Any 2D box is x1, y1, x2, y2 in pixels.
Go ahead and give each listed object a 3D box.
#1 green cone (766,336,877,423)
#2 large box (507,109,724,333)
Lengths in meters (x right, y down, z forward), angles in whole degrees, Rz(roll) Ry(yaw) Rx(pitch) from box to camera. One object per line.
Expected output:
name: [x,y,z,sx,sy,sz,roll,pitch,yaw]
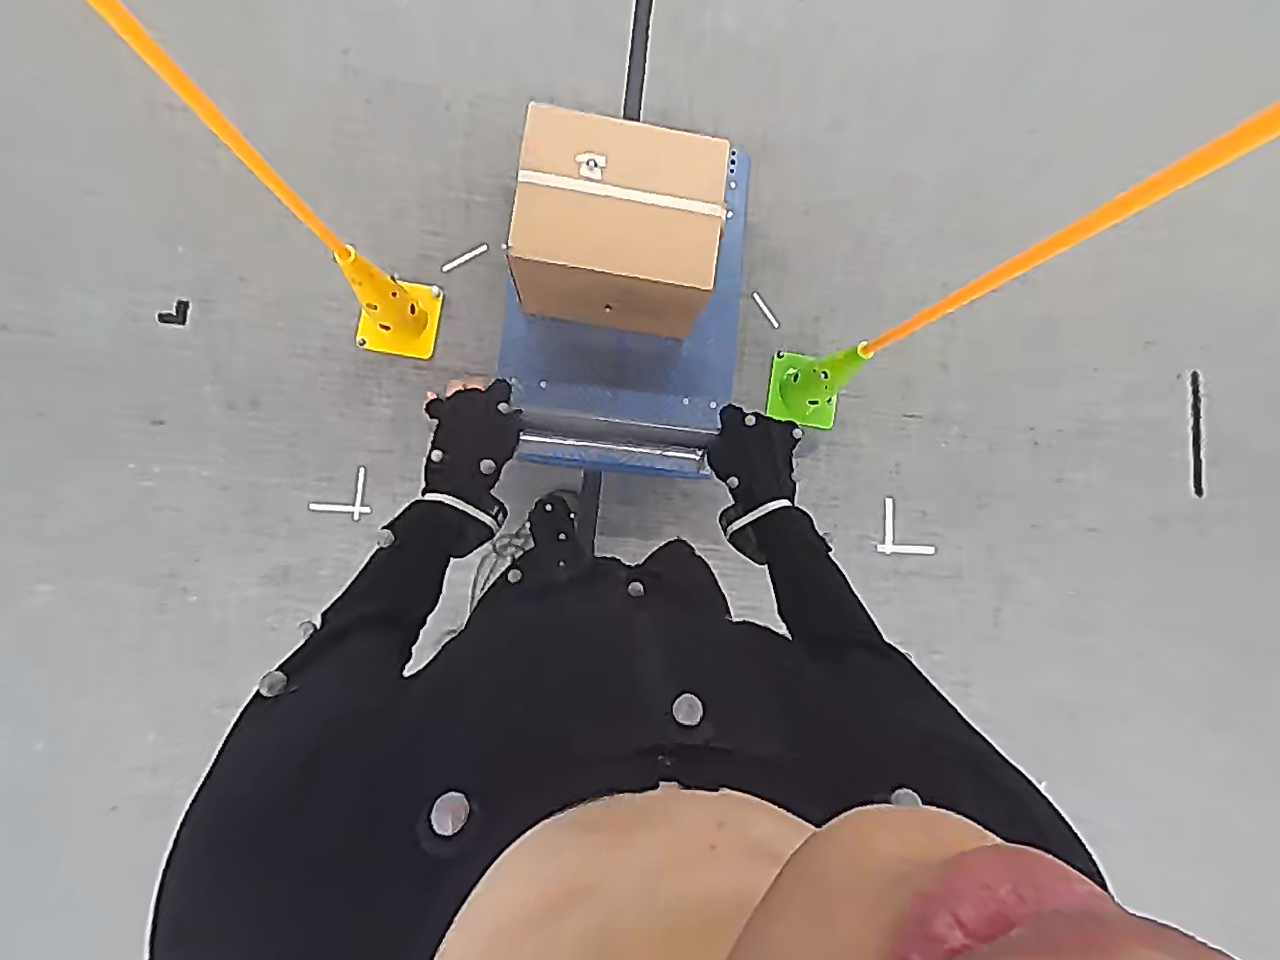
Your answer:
green cone: [0.487,-0.287,1.386,0.202,0.368,0.200,10,85,-6]
large box: [-0.054,-0.546,1.211,0.408,0.320,0.320,8,86,-4]
